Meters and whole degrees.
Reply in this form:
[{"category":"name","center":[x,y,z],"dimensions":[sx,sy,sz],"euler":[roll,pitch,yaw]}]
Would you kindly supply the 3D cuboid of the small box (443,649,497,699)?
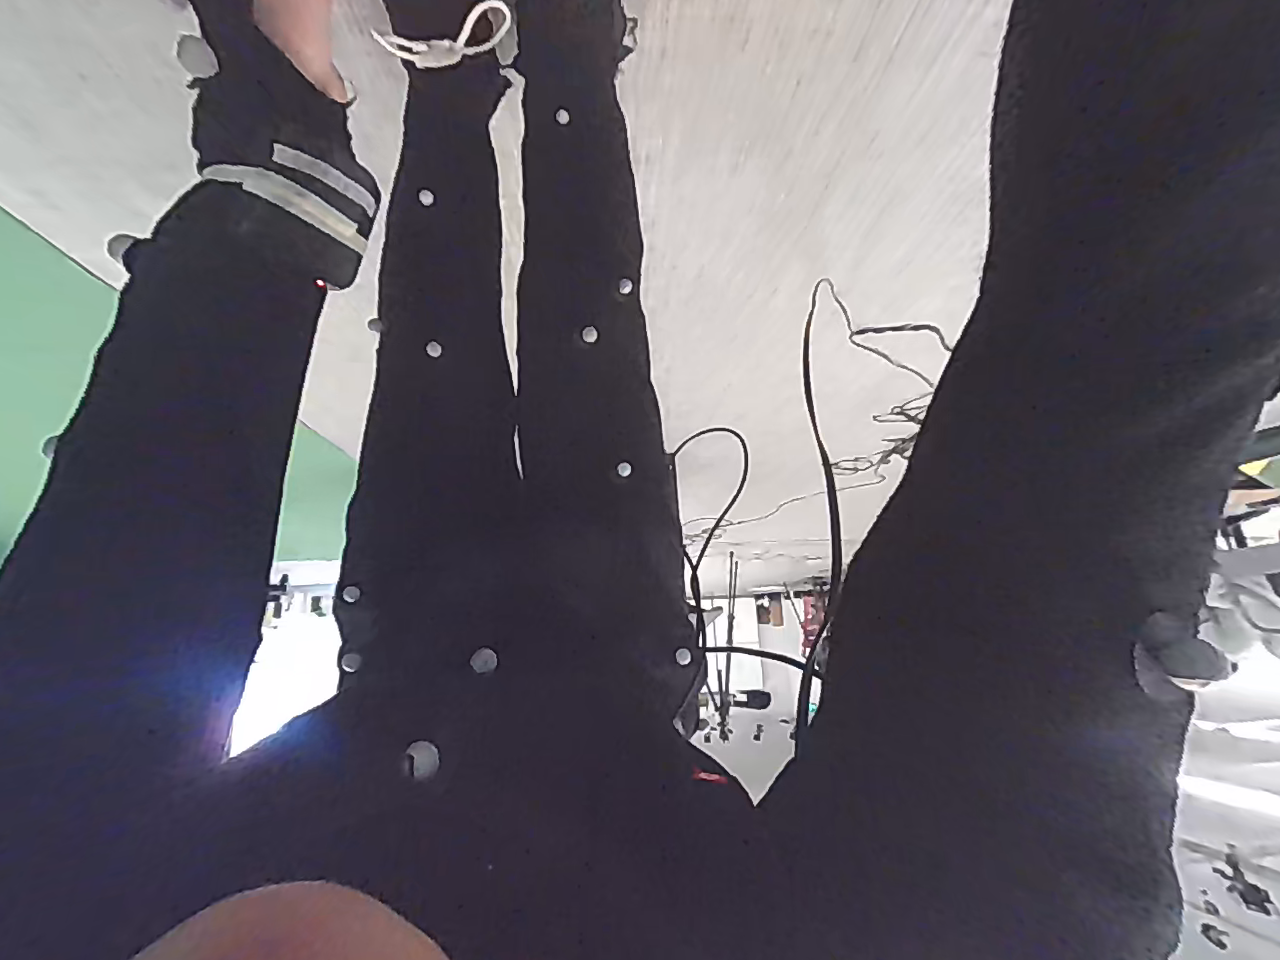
[{"category":"small box","center":[-0.655,0.745,2.095],"dimensions":[0.179,0.176,0.168],"euler":[-1,164,-6]}]
